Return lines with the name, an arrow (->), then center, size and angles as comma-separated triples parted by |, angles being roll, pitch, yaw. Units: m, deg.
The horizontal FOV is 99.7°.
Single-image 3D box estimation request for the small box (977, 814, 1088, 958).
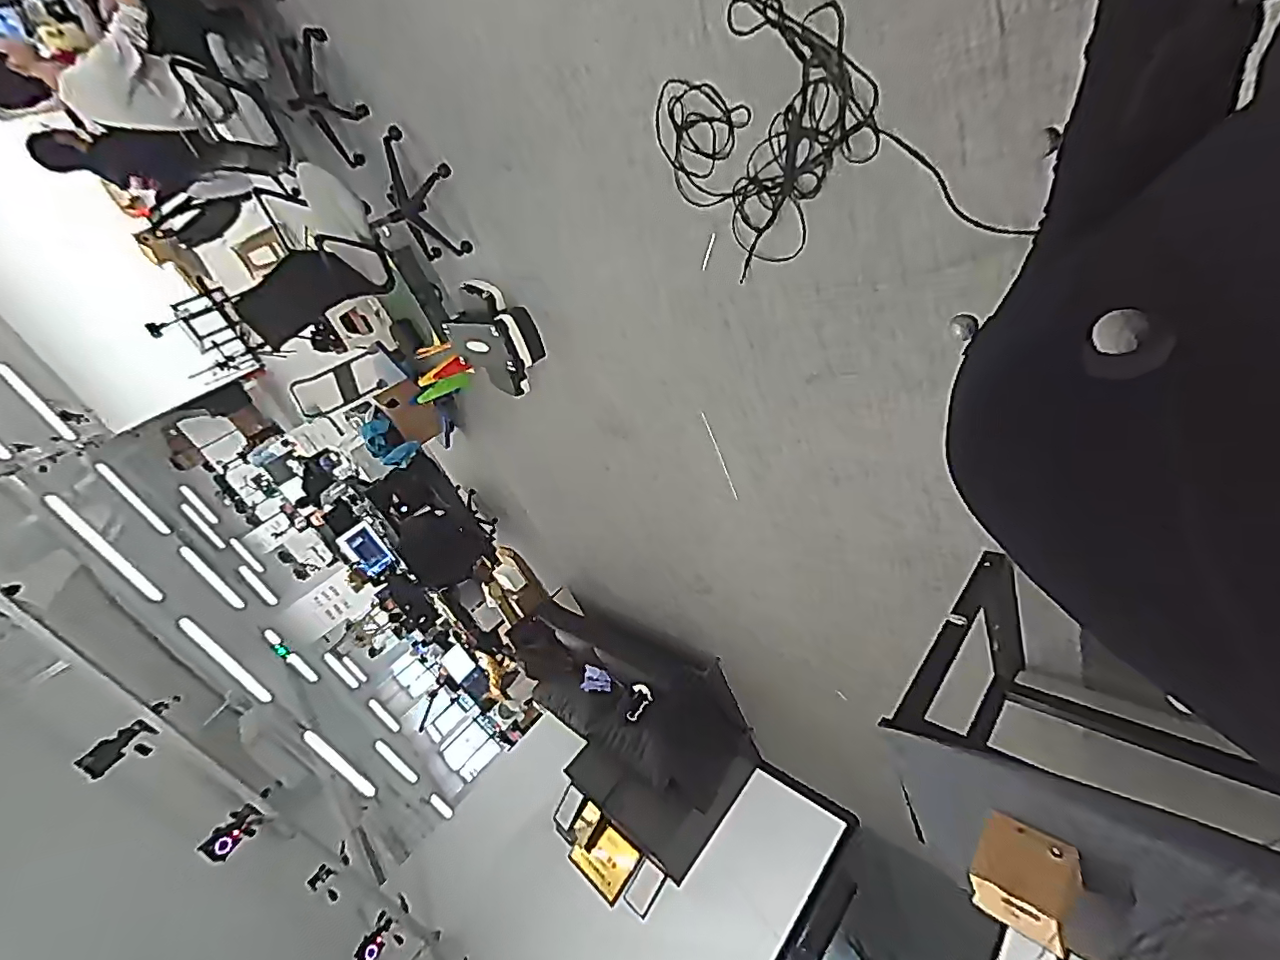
small box -> 0.898, 0.914, 1.234 | 0.168, 0.176, 0.179 | 7, 132, 50
